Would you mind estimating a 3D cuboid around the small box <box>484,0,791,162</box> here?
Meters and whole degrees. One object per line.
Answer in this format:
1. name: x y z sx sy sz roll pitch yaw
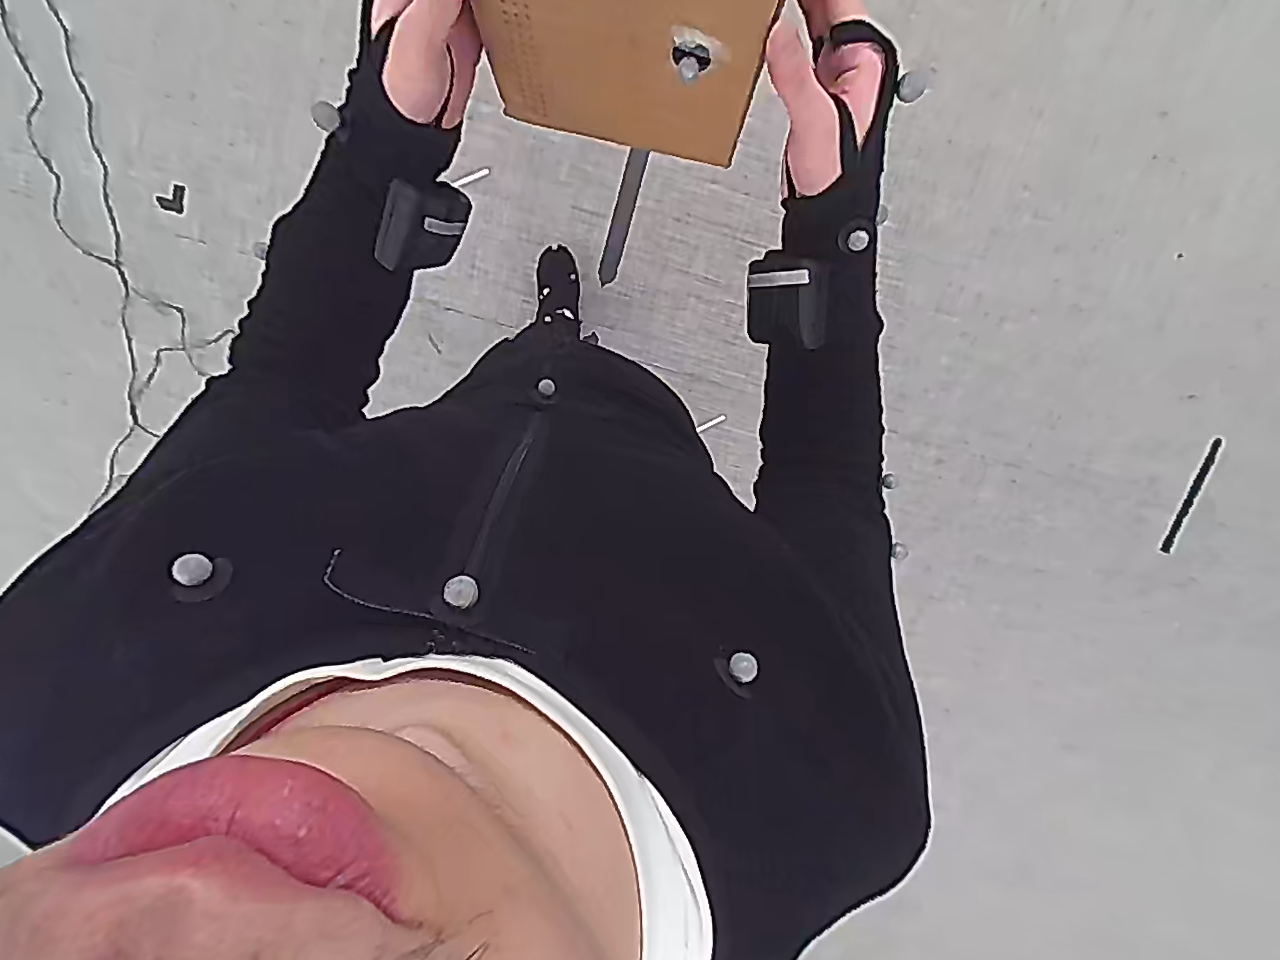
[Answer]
1. small box: 0.004 -0.328 0.312 0.176 0.179 0.168 12 87 -3
